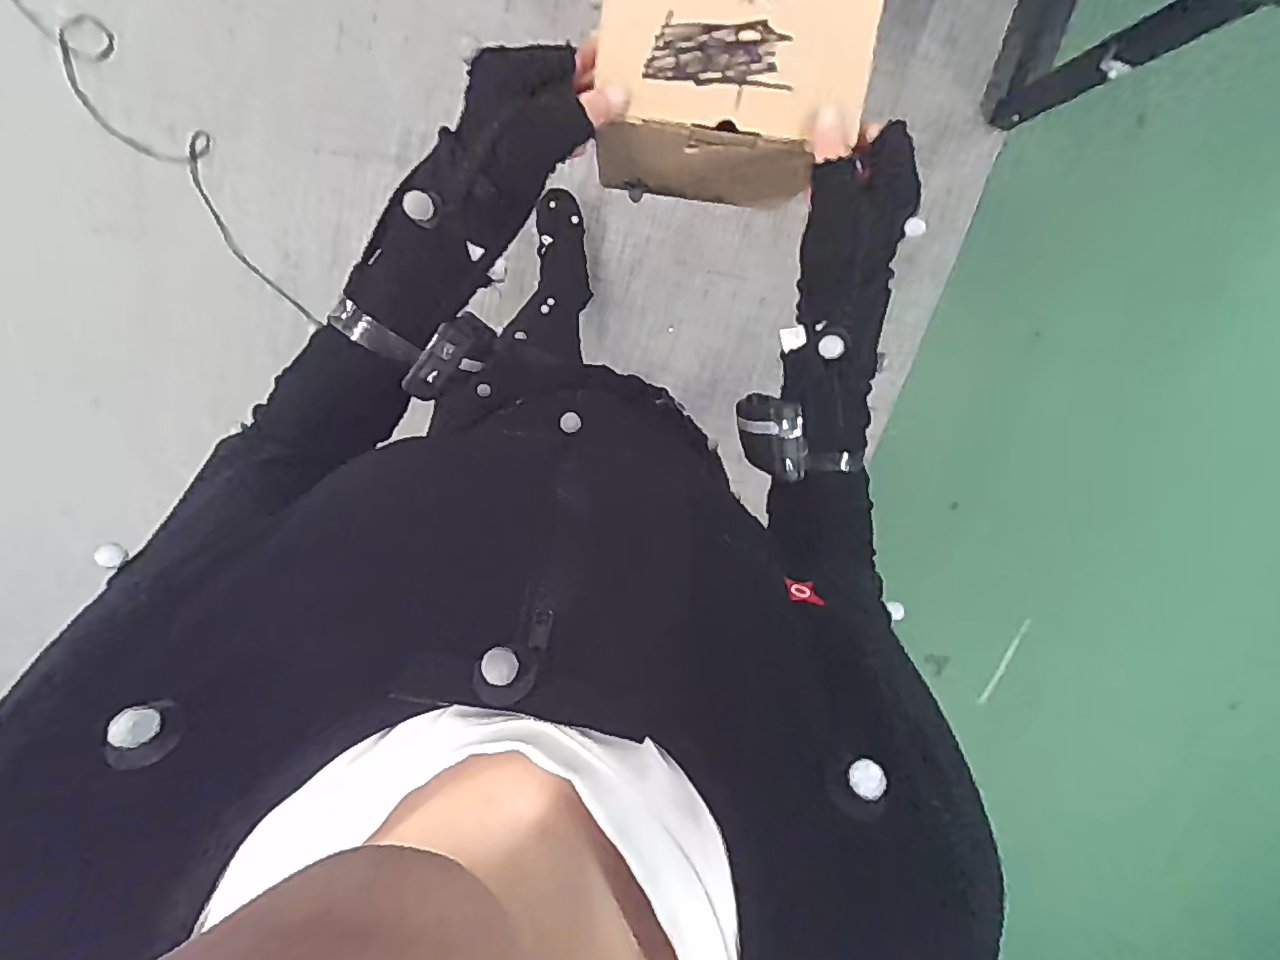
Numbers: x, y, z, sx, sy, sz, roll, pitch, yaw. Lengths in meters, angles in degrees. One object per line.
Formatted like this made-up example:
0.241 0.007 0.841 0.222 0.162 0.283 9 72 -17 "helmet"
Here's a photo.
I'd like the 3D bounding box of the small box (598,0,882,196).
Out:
0.063 -0.326 0.392 0.168 0.176 0.179 6 103 -4 "small box"
